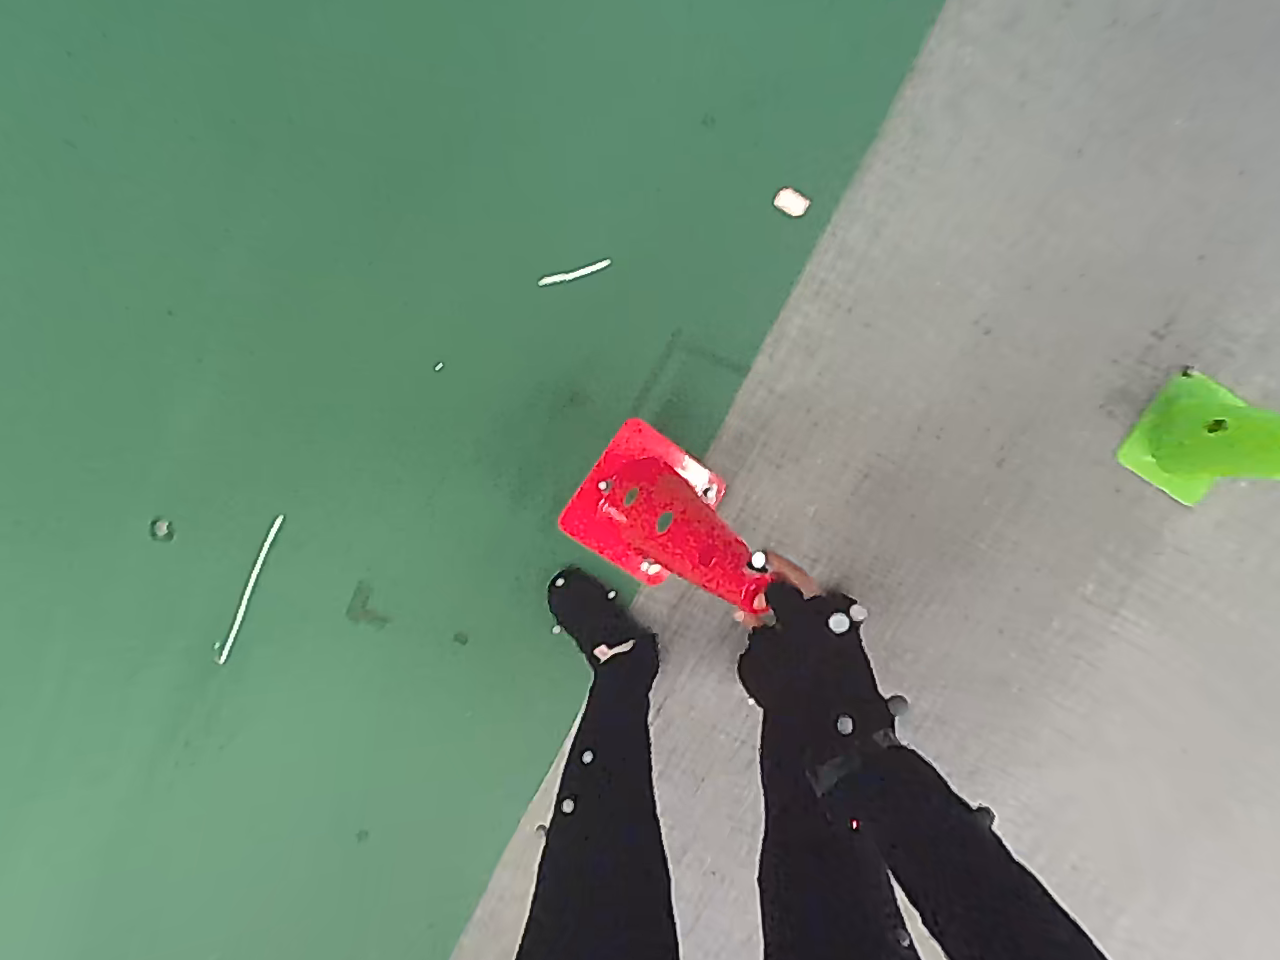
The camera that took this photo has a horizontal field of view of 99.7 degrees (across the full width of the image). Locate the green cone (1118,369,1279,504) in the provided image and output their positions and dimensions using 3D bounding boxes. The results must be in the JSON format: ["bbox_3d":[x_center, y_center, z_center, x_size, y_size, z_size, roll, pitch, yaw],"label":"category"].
[{"bbox_3d":[1.007,-0.043,0.825,0.202,0.368,0.200,28,99,-7],"label":"green cone"}]
